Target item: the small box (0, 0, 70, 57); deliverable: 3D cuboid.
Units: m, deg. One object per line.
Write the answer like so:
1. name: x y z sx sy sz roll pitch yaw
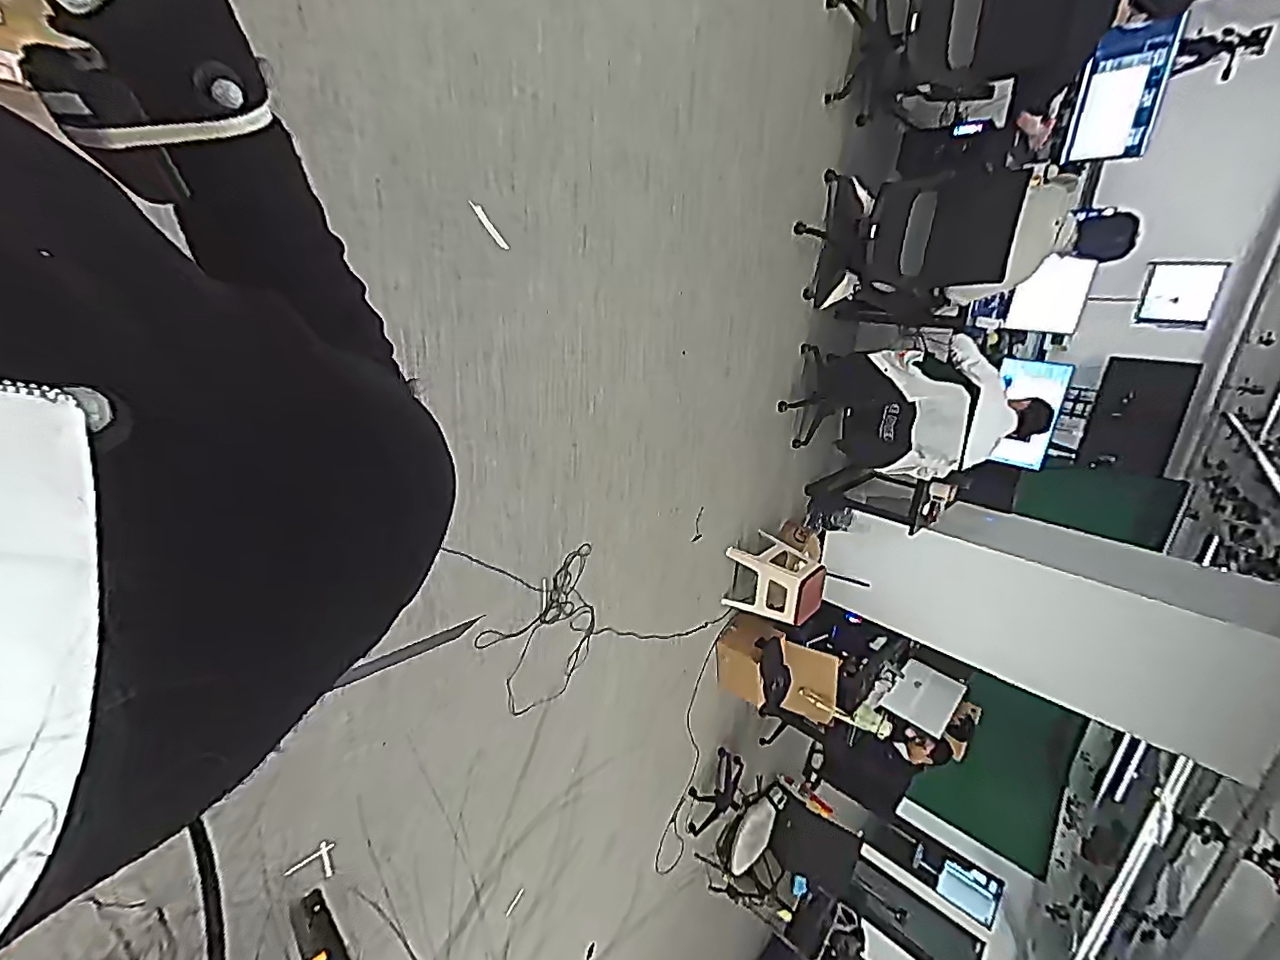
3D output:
1. small box: -0.687 -0.534 0.509 0.179 0.176 0.168 -14 116 -48

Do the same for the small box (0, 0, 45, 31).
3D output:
1. small box: -0.576 -0.483 0.397 0.168 0.176 0.179 -9 114 -50
